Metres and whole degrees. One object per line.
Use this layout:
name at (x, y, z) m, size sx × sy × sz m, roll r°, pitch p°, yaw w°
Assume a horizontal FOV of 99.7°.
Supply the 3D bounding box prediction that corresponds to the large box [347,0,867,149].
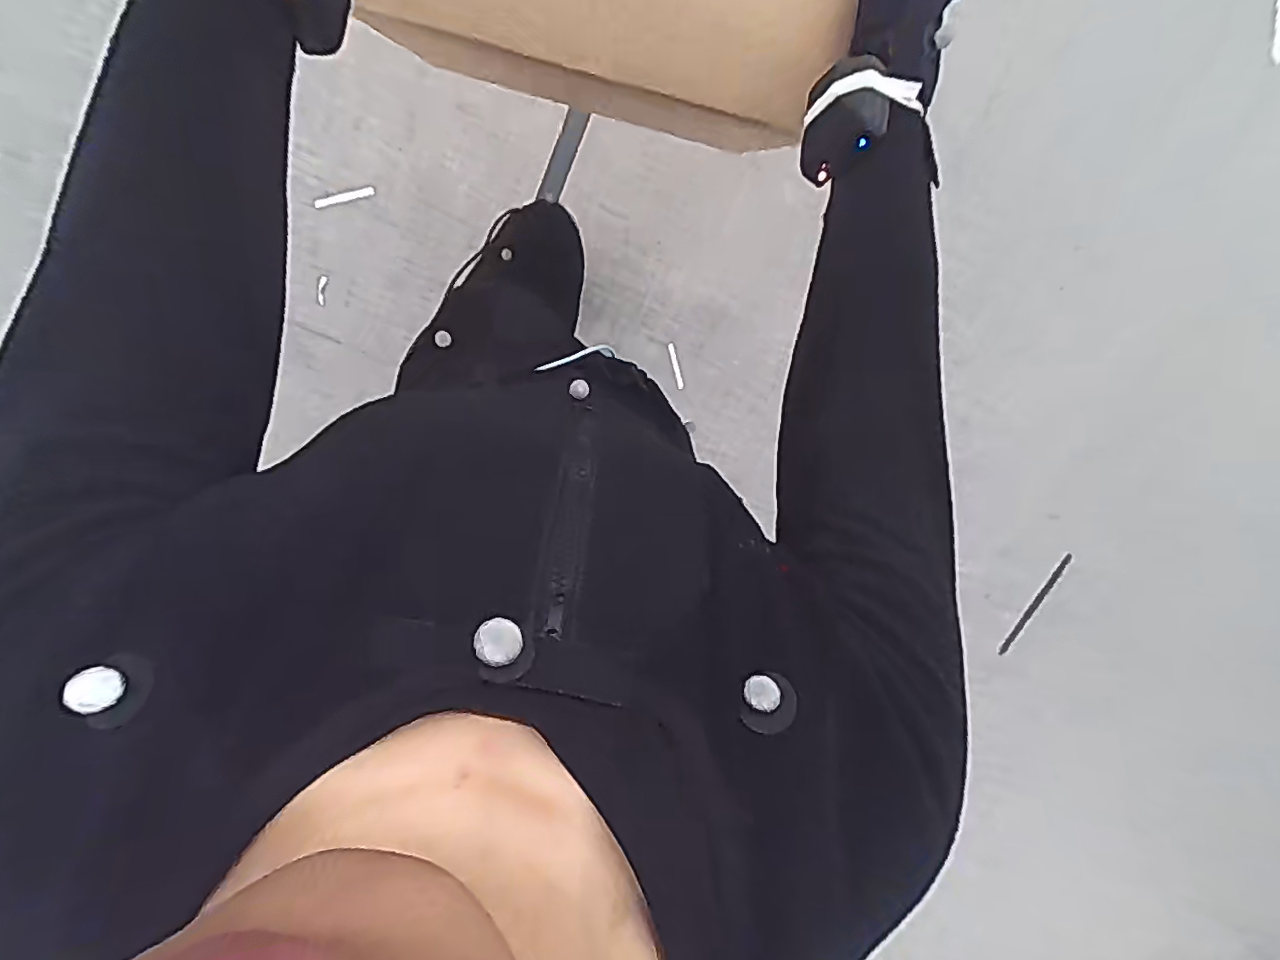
large box at (-0.013, -0.532, 0.498) m, size 0.408 × 0.320 × 0.320 m, roll 9°, pitch 119°, yaw -11°
